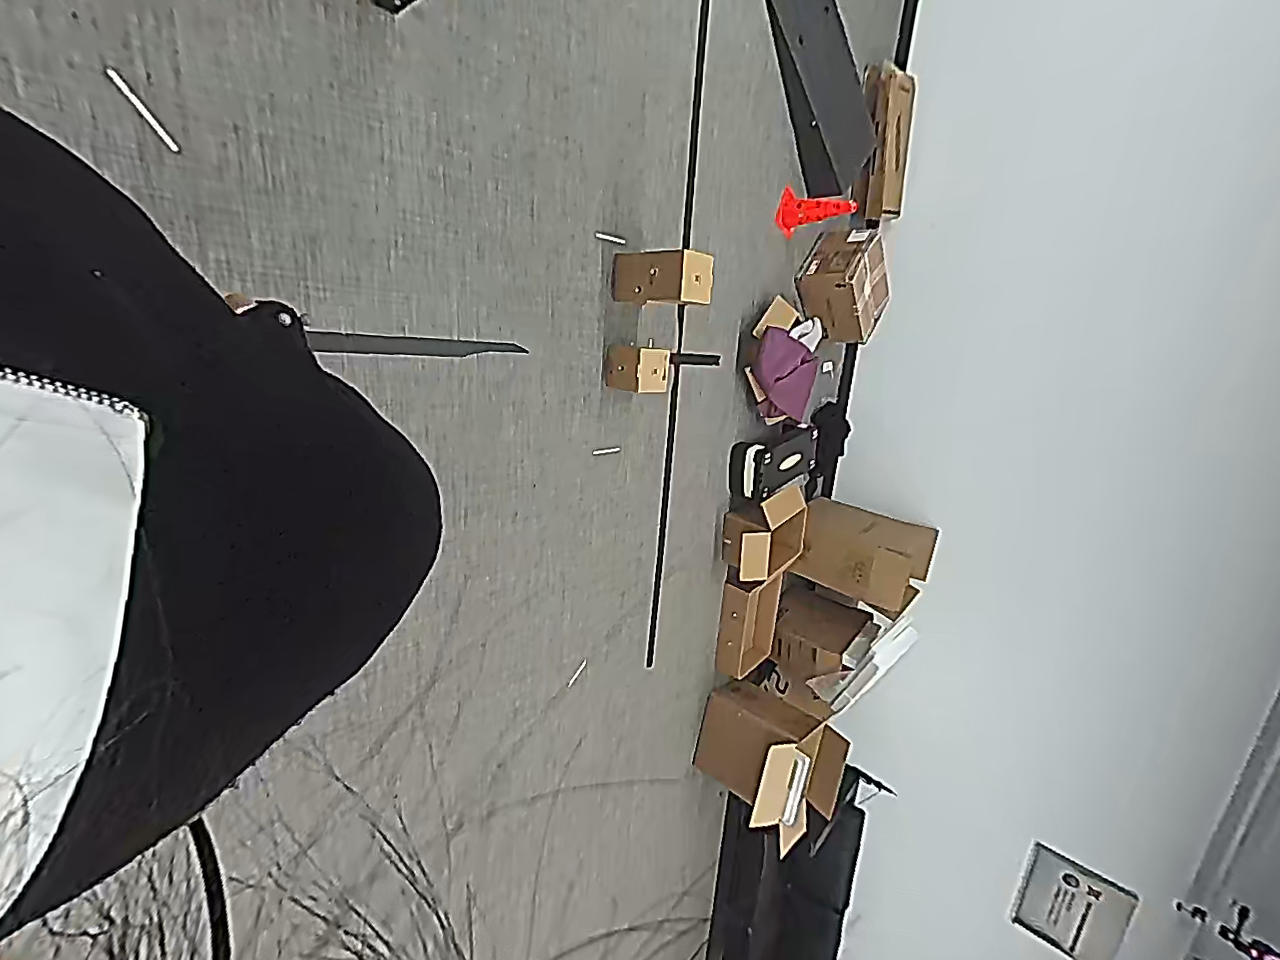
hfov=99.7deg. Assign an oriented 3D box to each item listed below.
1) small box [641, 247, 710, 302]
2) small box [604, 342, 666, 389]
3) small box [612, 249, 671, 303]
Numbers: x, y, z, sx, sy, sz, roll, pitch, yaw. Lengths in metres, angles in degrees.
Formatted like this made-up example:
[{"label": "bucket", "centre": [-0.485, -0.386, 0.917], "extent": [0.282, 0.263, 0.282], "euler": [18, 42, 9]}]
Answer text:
[{"label": "small box", "centre": [0.126, -0.726, 1.924], "extent": [0.179, 0.176, 0.168], "euler": [-14, 113, -46]}, {"label": "small box", "centre": [-0.024, -0.449, 2.117], "extent": [0.179, 0.176, 0.168], "euler": [-11, 112, -47]}, {"label": "small box", "centre": [0.008, -0.763, 2.030], "extent": [0.168, 0.176, 0.179], "euler": [-16, 115, -47]}]
